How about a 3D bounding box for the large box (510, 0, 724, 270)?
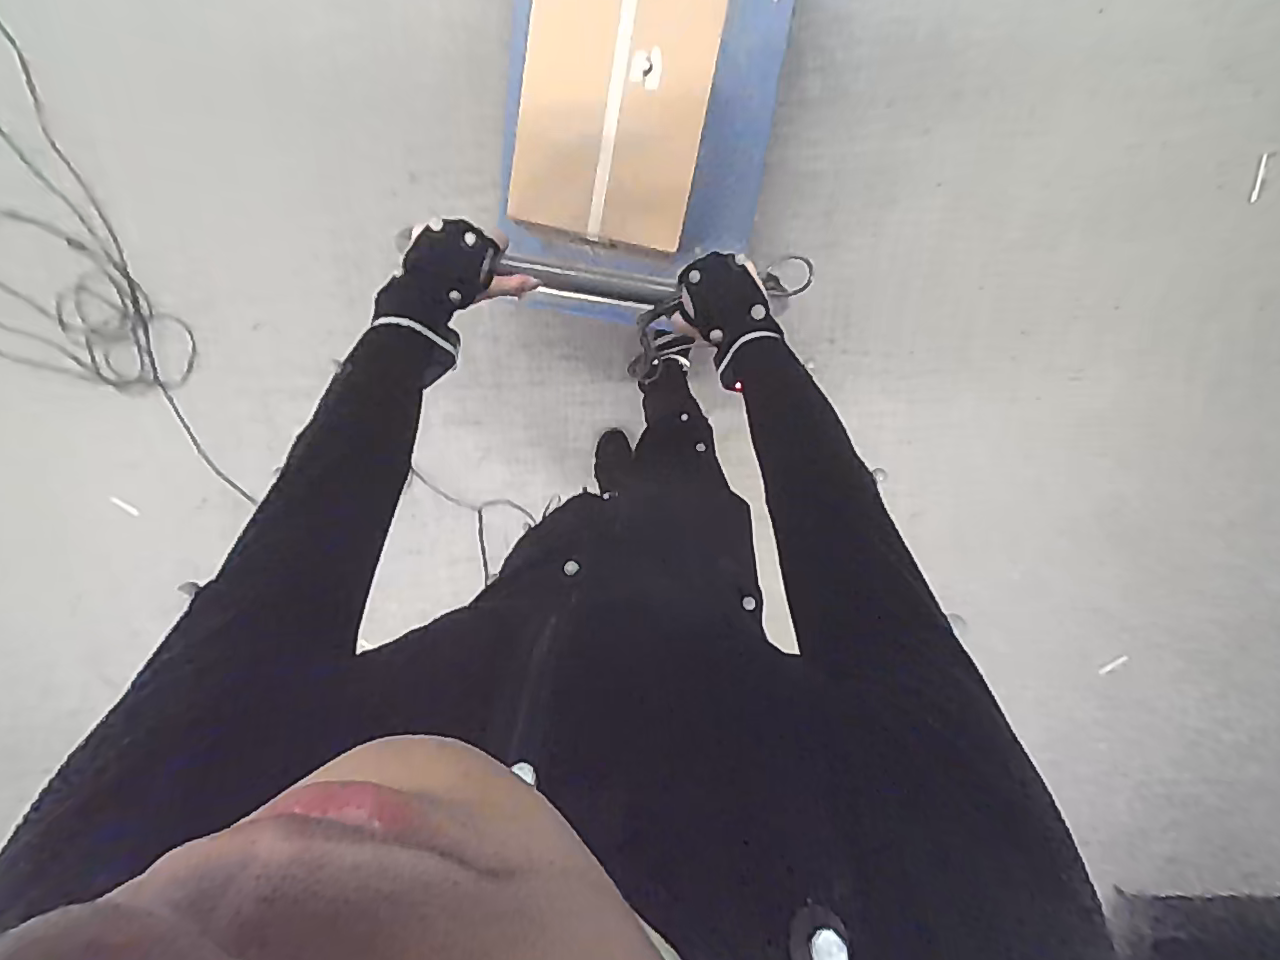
[{"bbox_3d":[-0.044,-0.665,1.068,0.320,0.320,0.408,12,106,-3],"label":"large box"}]
